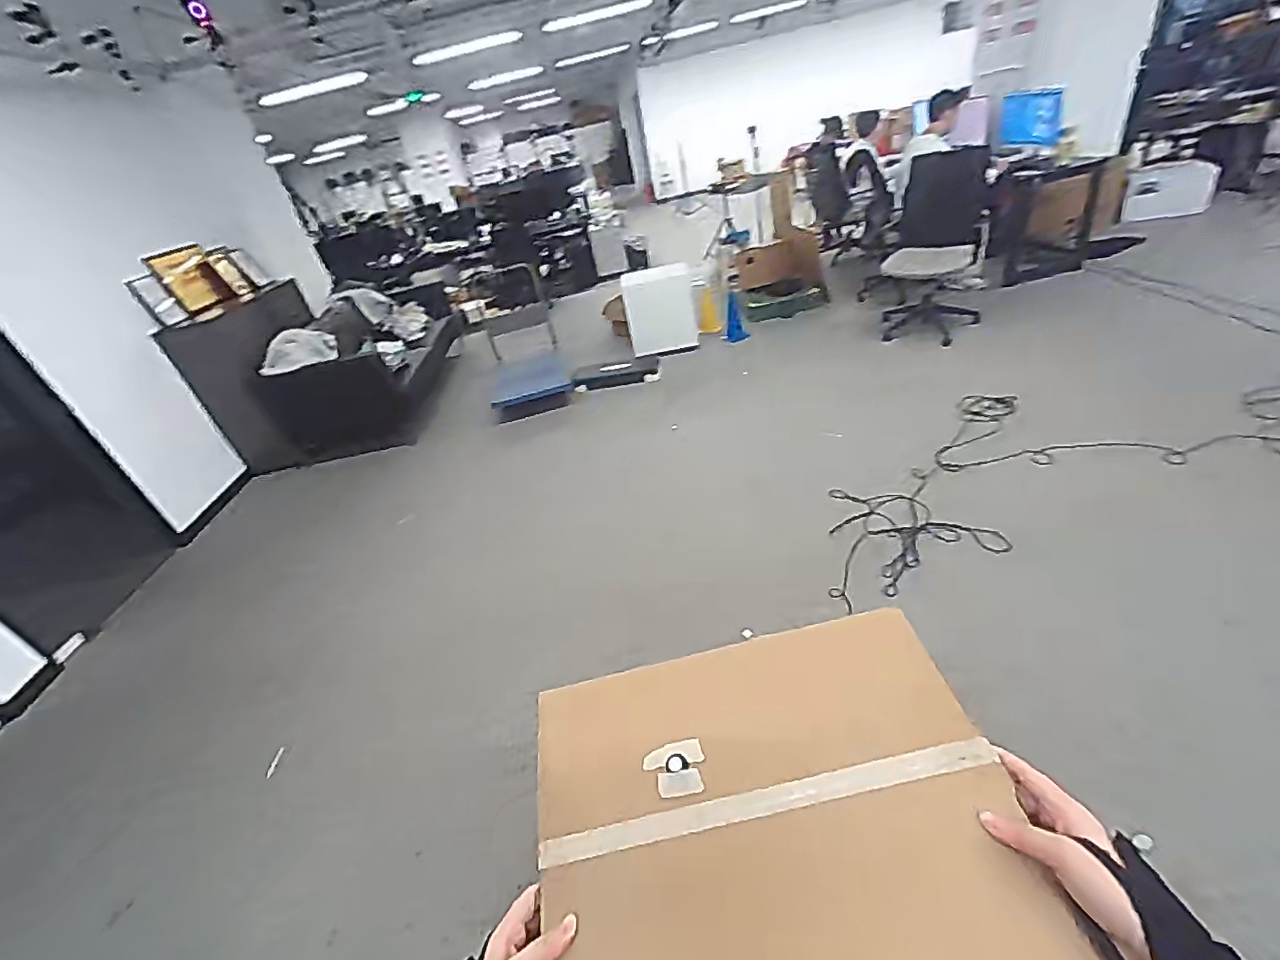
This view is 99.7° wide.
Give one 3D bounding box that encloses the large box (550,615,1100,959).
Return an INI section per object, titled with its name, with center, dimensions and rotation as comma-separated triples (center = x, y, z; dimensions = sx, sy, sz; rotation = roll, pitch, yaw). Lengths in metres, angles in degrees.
[large box]
center = 0.149, 0.403, 0.584
dimensions = 0.408, 0.320, 0.320
rotation = -16, 42, 4
